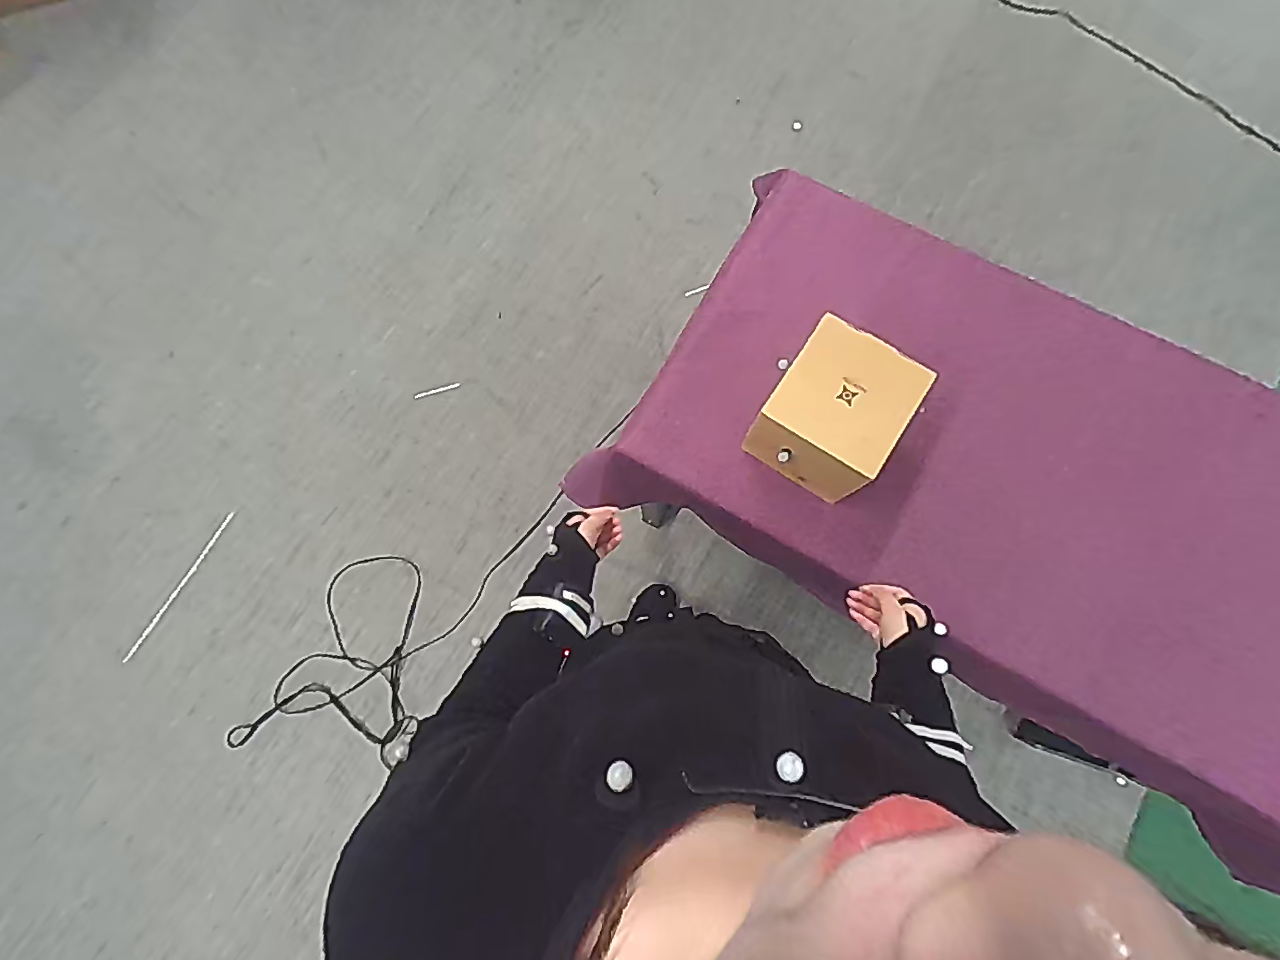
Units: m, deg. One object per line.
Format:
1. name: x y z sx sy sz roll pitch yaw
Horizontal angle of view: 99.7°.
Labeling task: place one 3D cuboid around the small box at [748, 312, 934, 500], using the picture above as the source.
1. small box: 0.270 -0.094 0.770 0.168 0.176 0.179 33 78 9
